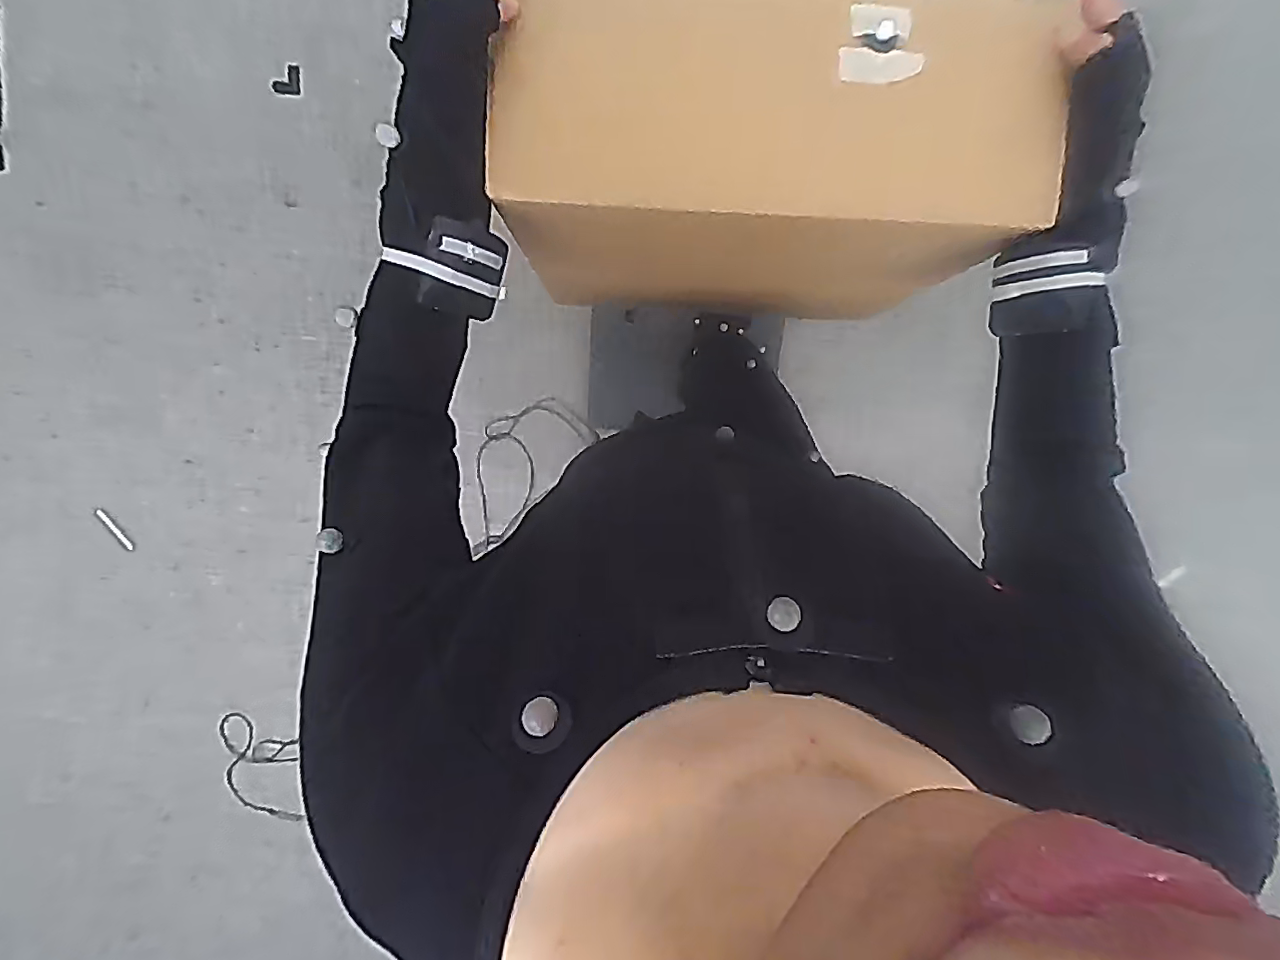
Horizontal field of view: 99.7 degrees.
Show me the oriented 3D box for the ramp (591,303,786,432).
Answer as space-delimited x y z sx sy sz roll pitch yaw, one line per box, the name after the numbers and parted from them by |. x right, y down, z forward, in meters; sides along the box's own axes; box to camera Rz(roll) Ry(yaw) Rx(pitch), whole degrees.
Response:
0.138 -0.615 1.314 0.509 0.206 0.991 1 98 -1 | ramp

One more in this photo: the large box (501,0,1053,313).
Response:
0.097 -0.363 0.538 0.408 0.320 0.320 3 94 -1 | large box
